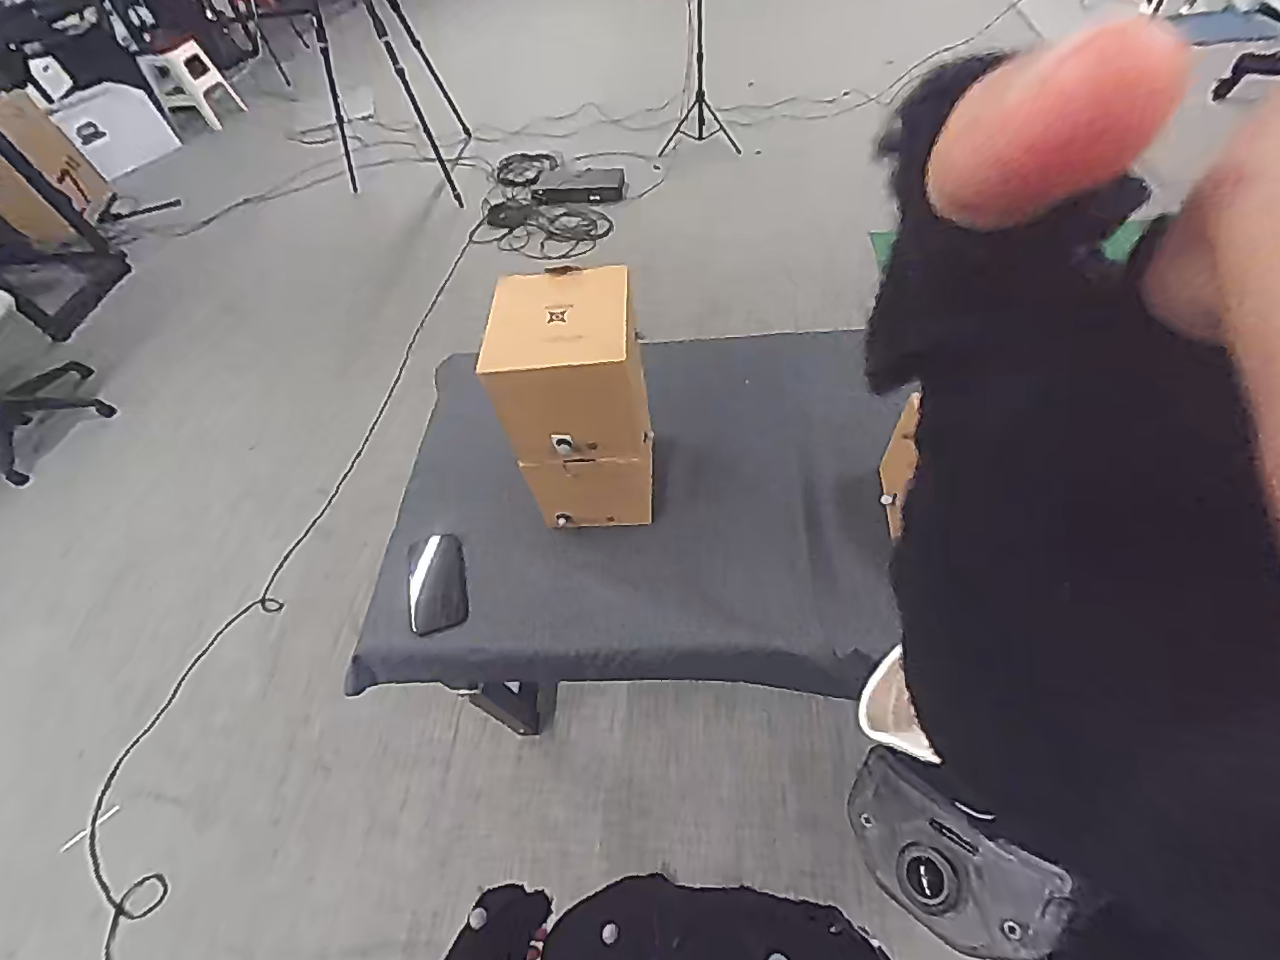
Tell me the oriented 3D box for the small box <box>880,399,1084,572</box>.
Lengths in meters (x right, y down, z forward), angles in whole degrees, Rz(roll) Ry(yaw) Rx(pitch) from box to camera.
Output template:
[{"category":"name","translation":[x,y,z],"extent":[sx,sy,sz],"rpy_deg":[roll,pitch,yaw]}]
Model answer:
[{"category":"small box","translation":[0.439,0.011,0.732],"extent":[0.168,0.176,0.179],"rpy_deg":[2,55,8]}]

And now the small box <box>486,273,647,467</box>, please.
[{"category":"small box","translation":[-0.082,-0.138,0.697],"extent":[0.168,0.176,0.179],"rpy_deg":[-5,55,4]}]

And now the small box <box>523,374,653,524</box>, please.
[{"category":"small box","translation":[-0.067,-0.042,0.826],"extent":[0.168,0.176,0.179],"rpy_deg":[-2,53,5]}]
